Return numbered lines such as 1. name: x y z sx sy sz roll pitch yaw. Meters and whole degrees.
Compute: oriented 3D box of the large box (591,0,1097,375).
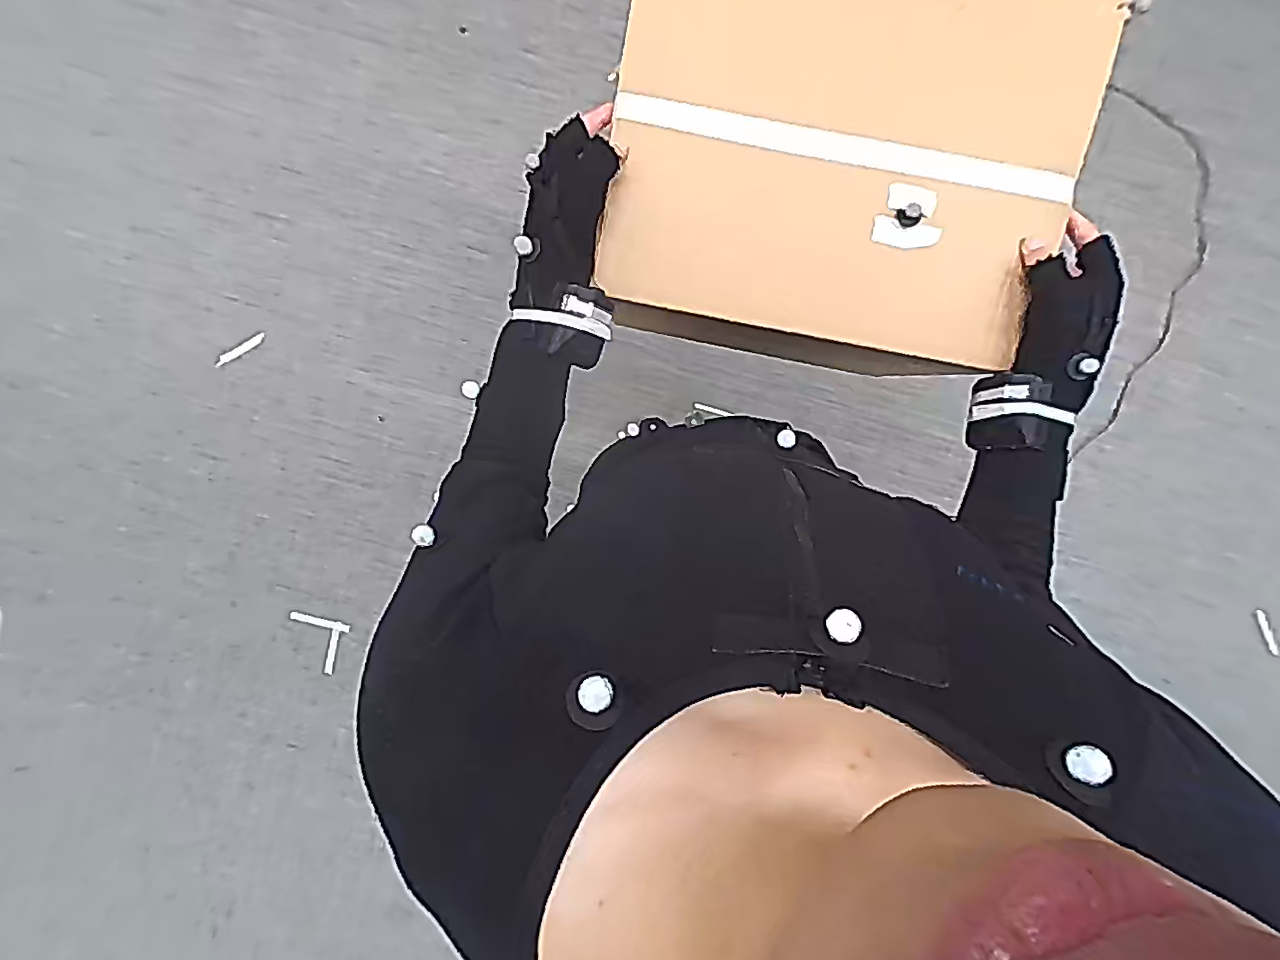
1. large box: 0.174 -0.314 0.631 0.408 0.320 0.320 11 100 -1
